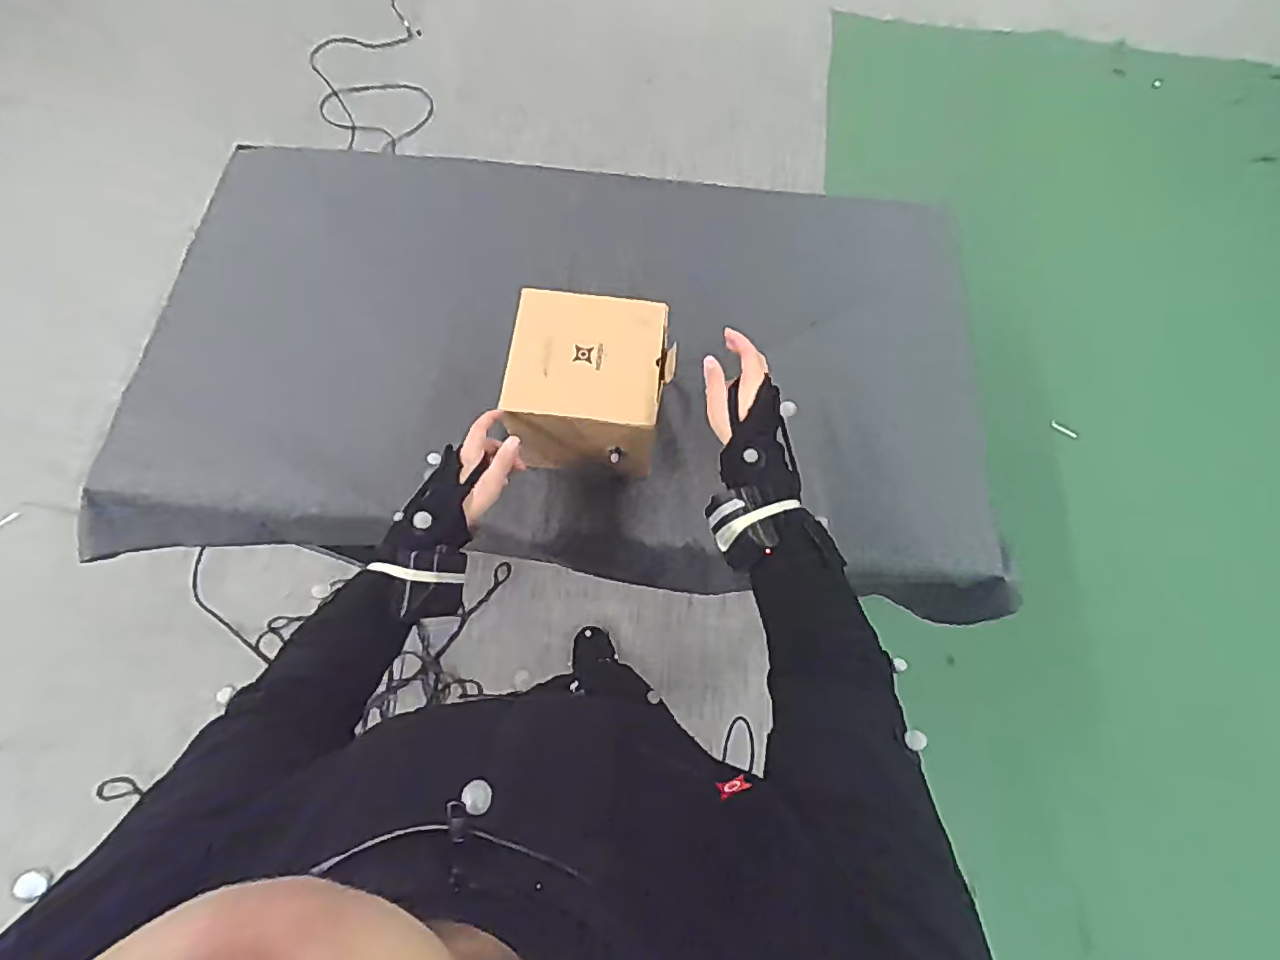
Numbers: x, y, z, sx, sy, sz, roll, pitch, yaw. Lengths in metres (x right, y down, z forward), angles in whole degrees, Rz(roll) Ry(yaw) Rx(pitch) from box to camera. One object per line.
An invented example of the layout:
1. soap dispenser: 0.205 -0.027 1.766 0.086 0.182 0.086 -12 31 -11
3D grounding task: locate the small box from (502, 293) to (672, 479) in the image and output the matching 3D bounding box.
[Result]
1. small box: -0.058 -0.109 0.687 0.179 0.176 0.168 5 68 1
